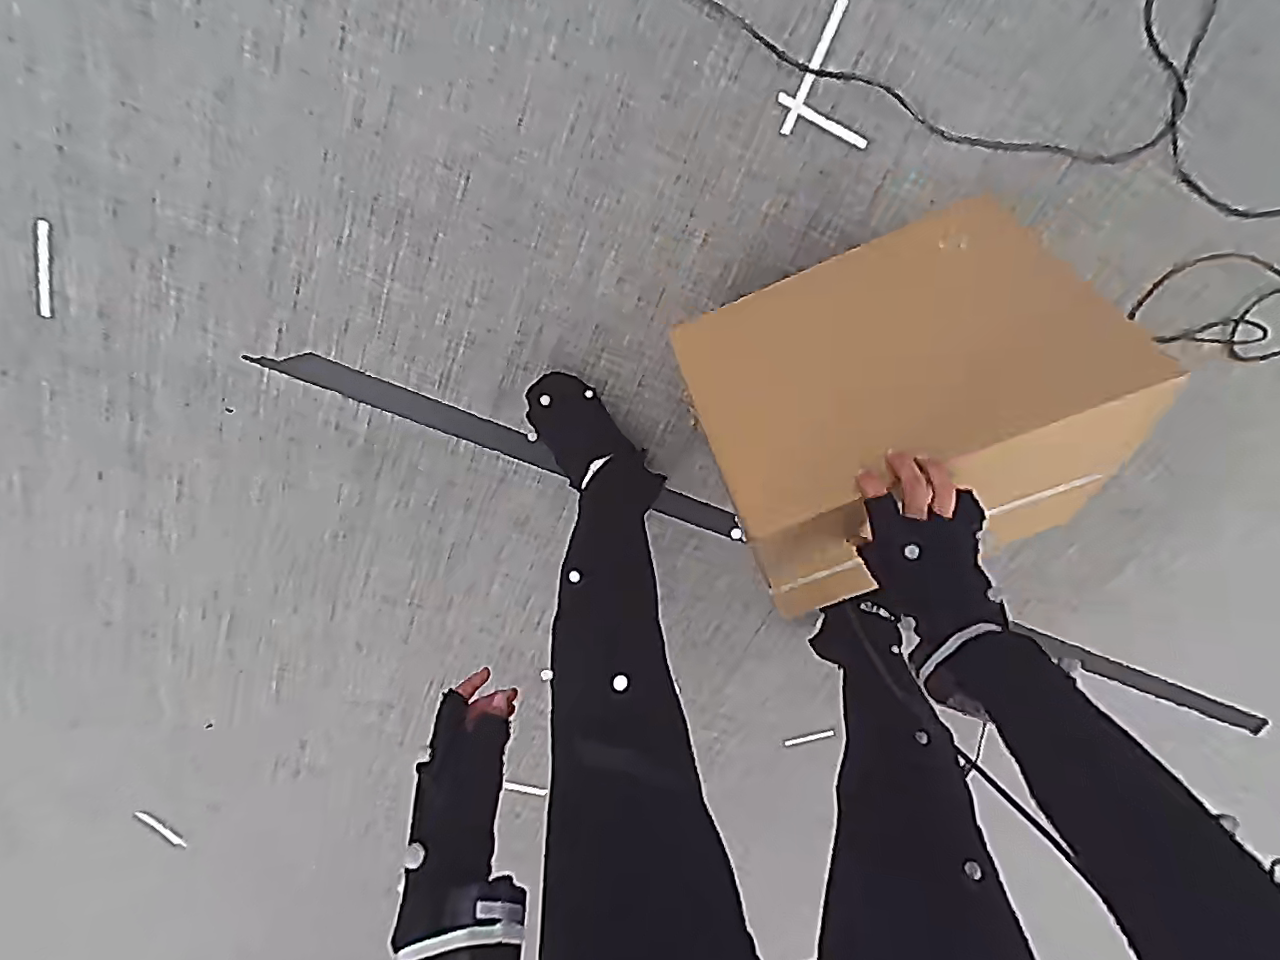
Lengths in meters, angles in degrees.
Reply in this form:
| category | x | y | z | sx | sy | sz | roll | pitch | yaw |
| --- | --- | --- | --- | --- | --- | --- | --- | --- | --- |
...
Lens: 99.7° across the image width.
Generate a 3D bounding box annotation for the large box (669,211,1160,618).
| category | x | y | z | sx | sy | sz | roll | pitch | yaw |
| --- | --- | --- | --- | --- | --- | --- | --- | --- | --- |
| large box | 0.296 | -0.057 | 0.706 | 0.408 | 0.320 | 0.320 | -22 | 146 | 10 |
